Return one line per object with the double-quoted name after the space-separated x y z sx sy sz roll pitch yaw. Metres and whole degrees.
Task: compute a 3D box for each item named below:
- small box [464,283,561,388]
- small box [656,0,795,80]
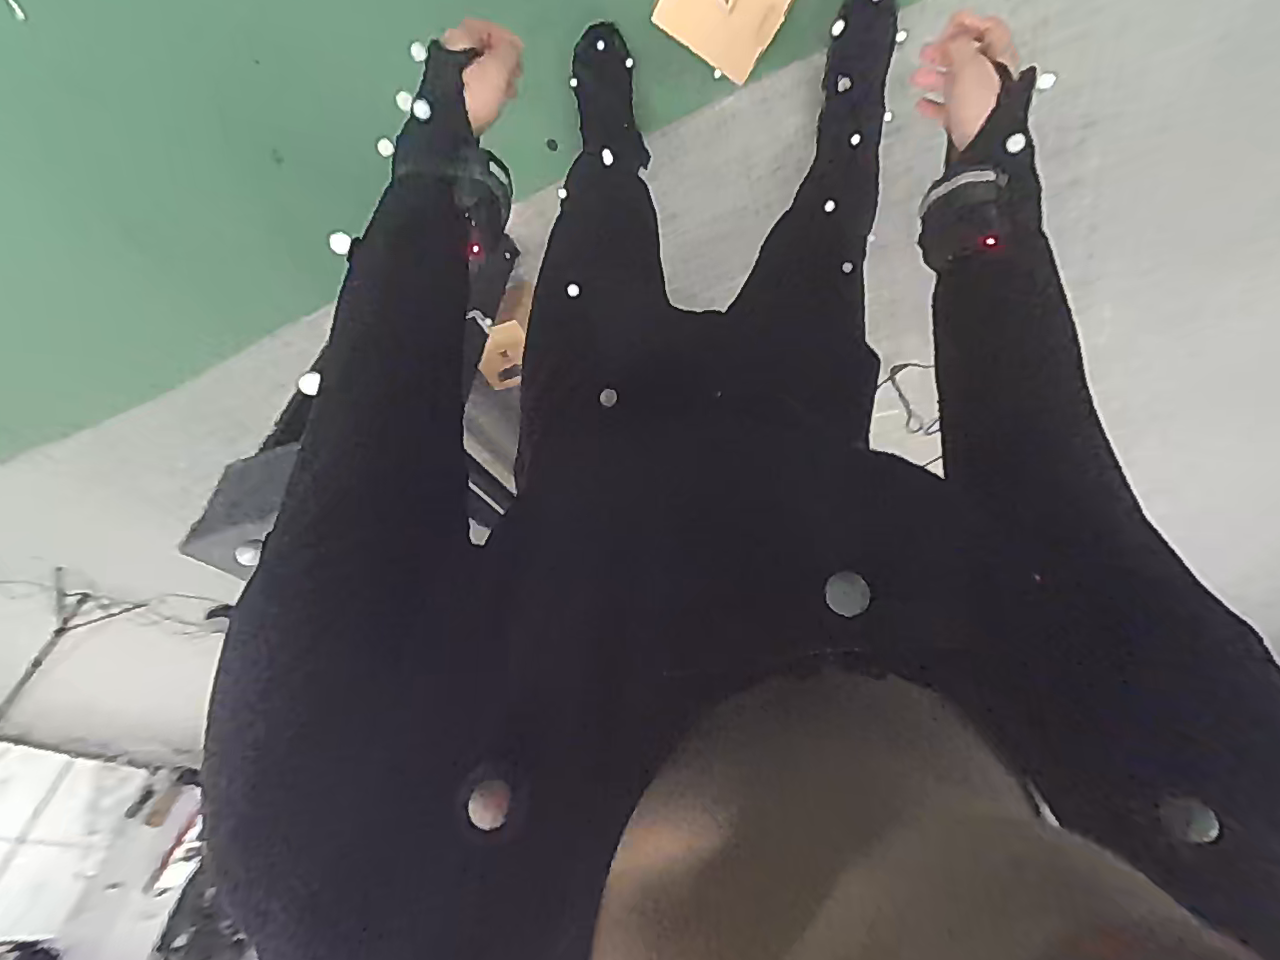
-0.316 -0.370 1.387 0.168 0.176 0.179 -12 139 18 "small box"
0.138 -0.777 0.837 0.179 0.176 0.168 19 139 -21 "small box"
